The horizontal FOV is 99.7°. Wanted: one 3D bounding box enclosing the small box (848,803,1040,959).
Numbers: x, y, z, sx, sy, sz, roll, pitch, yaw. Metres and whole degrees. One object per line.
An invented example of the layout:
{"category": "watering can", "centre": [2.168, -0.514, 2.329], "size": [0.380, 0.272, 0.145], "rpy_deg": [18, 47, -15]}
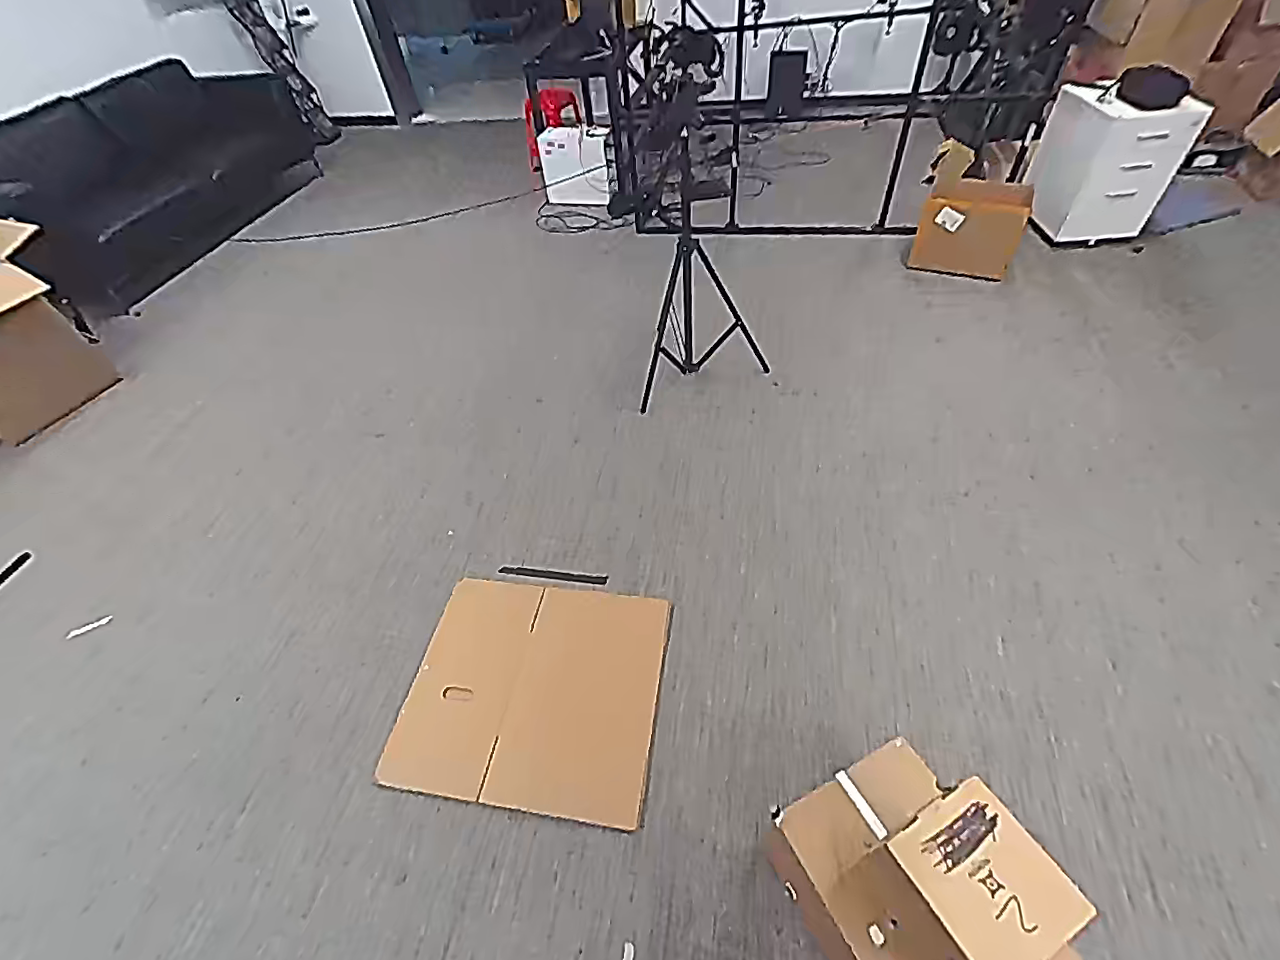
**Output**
{"category": "small box", "centre": [0.457, 0.653, 0.848], "size": [0.168, 0.176, 0.179], "rpy_deg": [-26, 52, -15]}
